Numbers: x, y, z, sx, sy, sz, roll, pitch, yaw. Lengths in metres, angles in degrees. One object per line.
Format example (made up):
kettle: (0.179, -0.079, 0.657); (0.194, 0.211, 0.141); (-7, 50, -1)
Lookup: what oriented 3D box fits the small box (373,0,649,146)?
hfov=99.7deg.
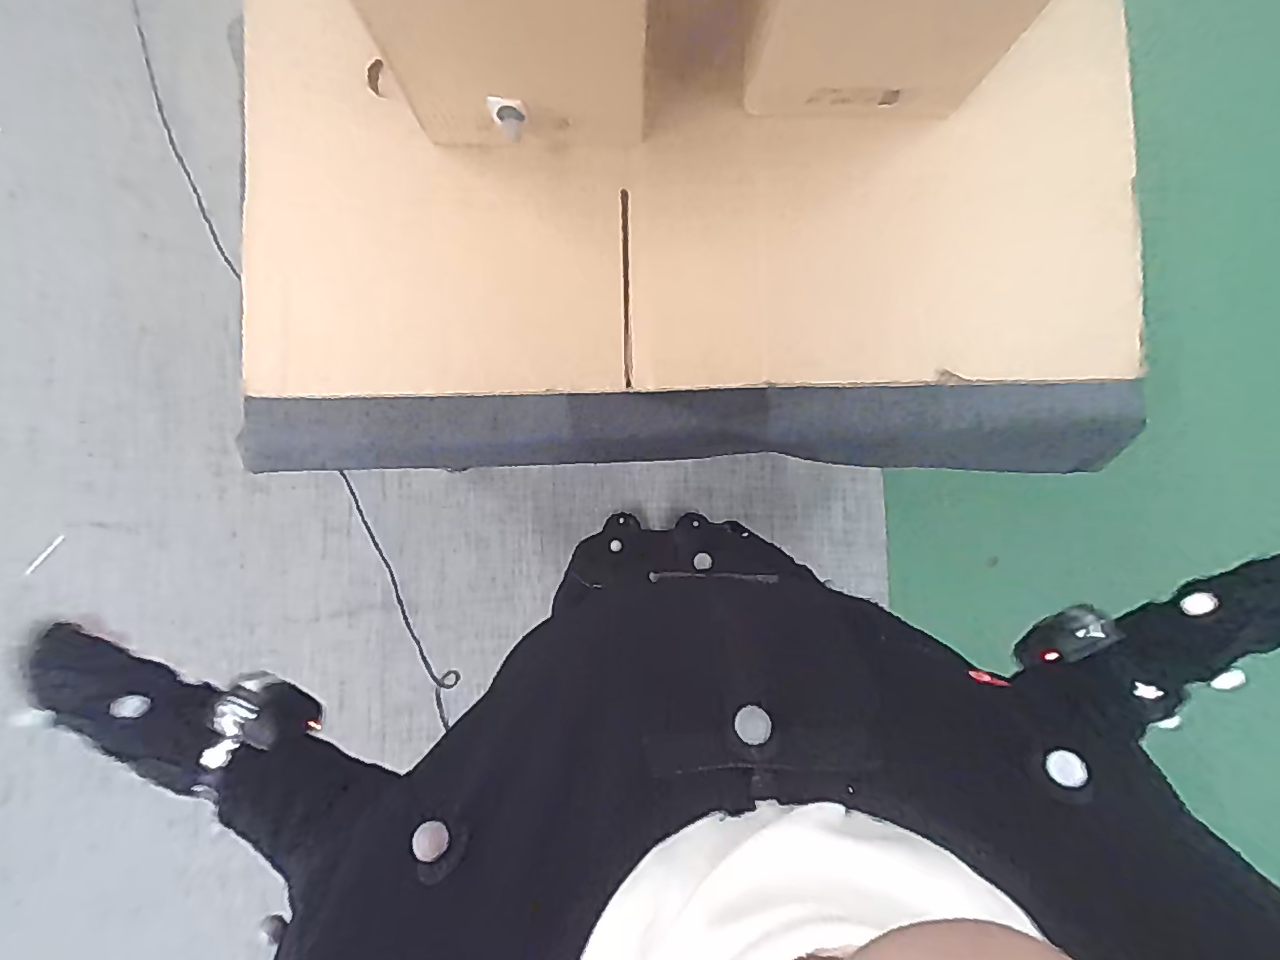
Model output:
small box: (-0.079, -0.352, 0.347); (0.168, 0.176, 0.179); (-2, 89, 0)

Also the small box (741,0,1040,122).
small box: (0.161, -0.373, 0.344); (0.168, 0.176, 0.179); (0, 87, -2)
